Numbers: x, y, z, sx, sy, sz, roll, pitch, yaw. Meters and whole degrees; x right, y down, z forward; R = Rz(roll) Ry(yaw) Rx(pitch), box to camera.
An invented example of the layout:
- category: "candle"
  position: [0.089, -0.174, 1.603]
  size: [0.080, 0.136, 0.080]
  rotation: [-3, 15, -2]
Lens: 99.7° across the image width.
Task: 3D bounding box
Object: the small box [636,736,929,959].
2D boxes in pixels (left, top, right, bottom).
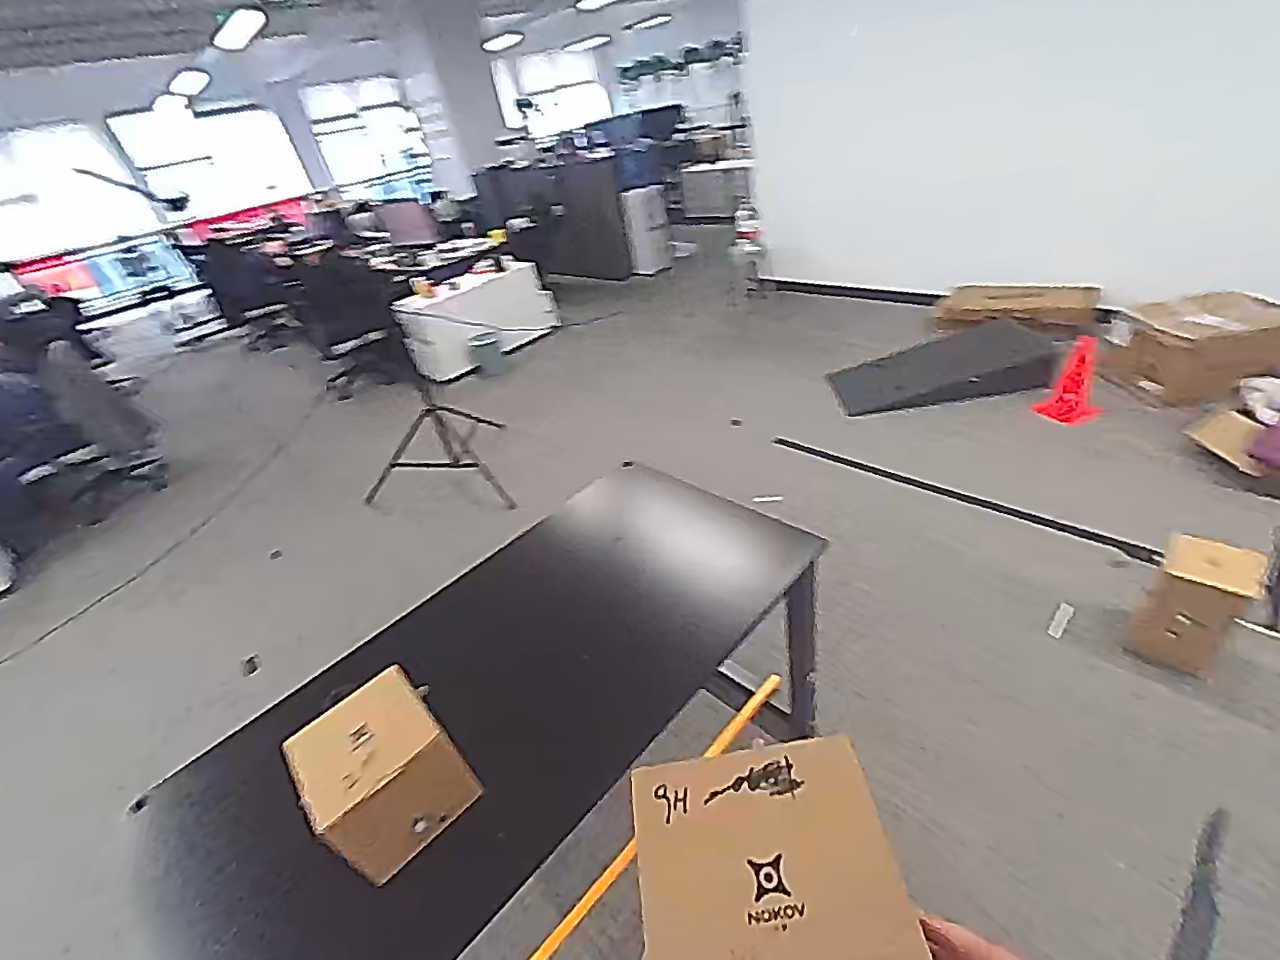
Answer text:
- category: "small box"
  position: [0.096, 0.317, 0.397]
  size: [0.168, 0.176, 0.179]
  rotation: [-10, 44, 2]

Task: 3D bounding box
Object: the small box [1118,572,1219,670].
- category: "small box"
  position: [1.481, 0.395, 1.511]
  size: [0.179, 0.176, 0.168]
  rotation: [23, 48, 39]

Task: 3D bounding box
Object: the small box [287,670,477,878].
- category: "small box"
  position: [-0.371, 0.427, 0.791]
  size: [0.168, 0.176, 0.179]
  rotation: [-36, 41, -29]

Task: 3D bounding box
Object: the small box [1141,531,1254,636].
- category: "small box"
  position: [1.452, 0.268, 1.414]
  size: [0.168, 0.176, 0.179]
  rotation: [19, 47, 39]
